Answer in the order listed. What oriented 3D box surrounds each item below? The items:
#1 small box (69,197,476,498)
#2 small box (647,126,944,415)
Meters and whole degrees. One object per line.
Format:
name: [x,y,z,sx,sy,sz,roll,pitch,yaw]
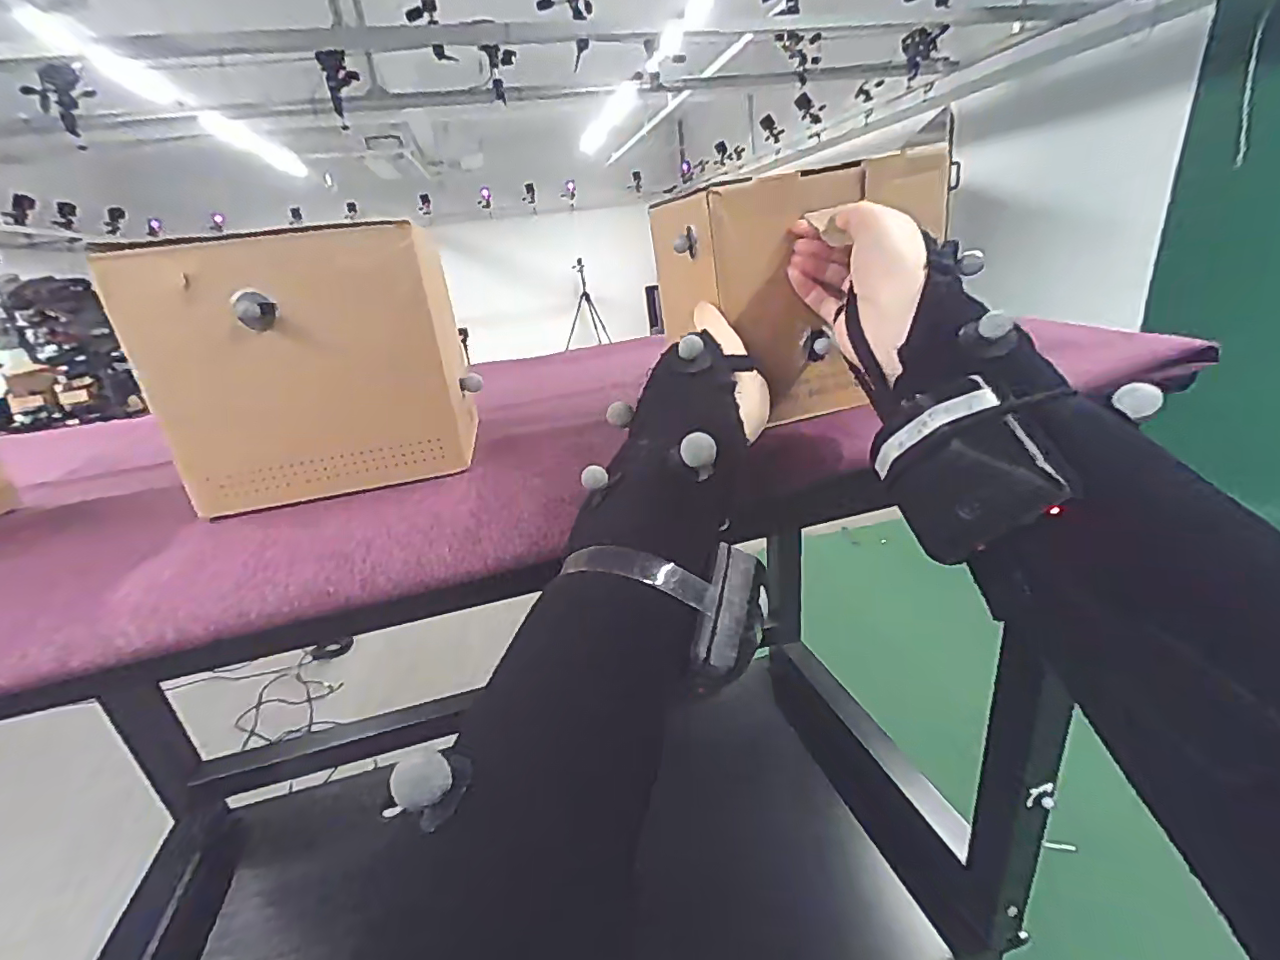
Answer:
small box: [-0.235,-0.097,0.407,0.179,0.176,0.168,-11,21,-10]
small box: [0.111,-0.164,0.442,0.168,0.176,0.179,-14,26,-6]
